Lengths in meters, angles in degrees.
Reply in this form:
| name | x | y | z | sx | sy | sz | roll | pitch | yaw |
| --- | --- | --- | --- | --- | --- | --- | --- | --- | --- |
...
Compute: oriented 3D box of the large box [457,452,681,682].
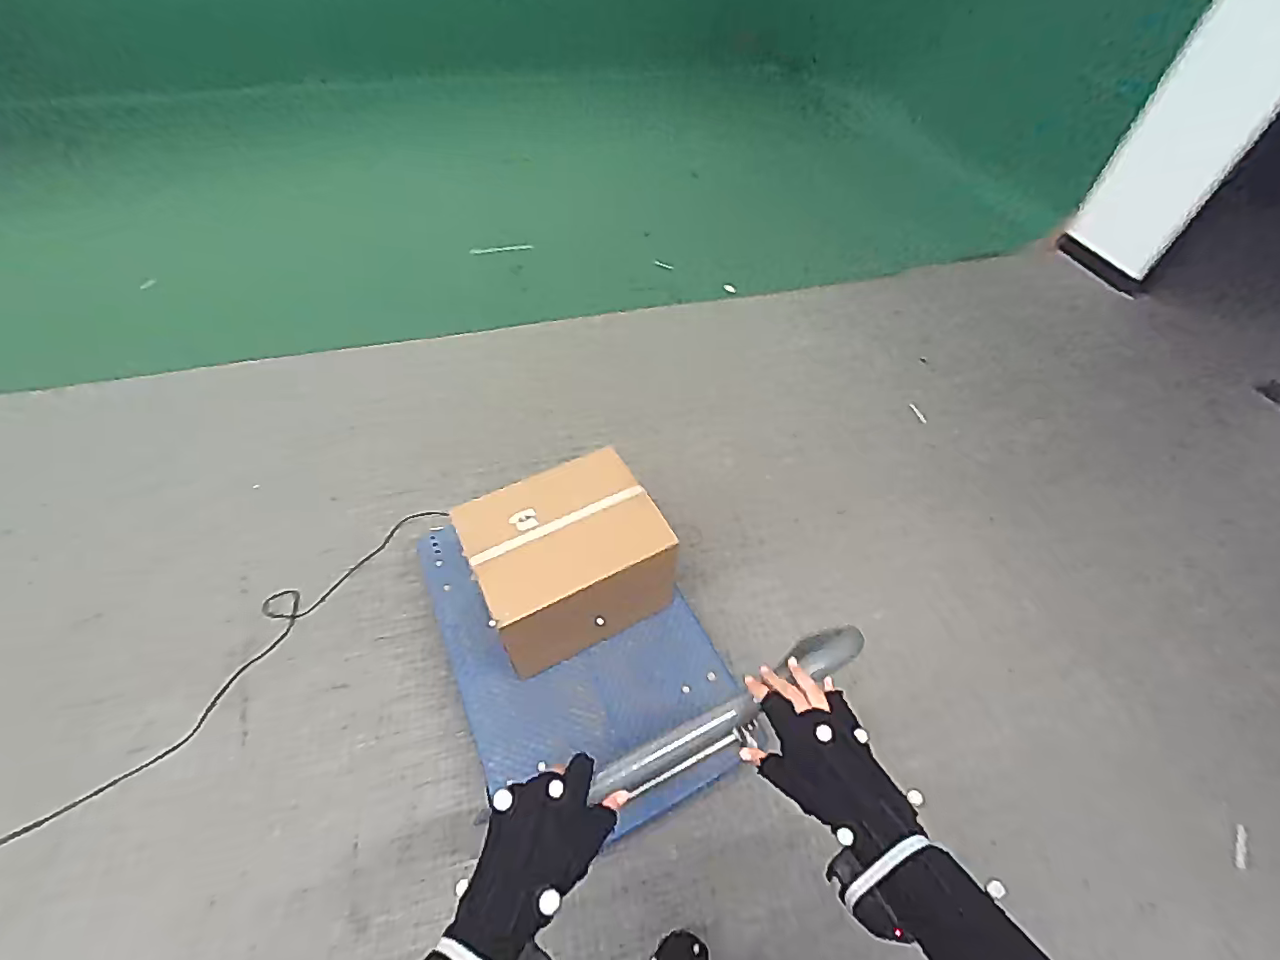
| name | x | y | z | sx | sy | sz | roll | pitch | yaw |
| --- | --- | --- | --- | --- | --- | --- | --- | --- | --- |
| large box | -0.157 | 0.204 | 1.279 | 0.408 | 0.320 | 0.320 | -24 | 55 | -18 |
